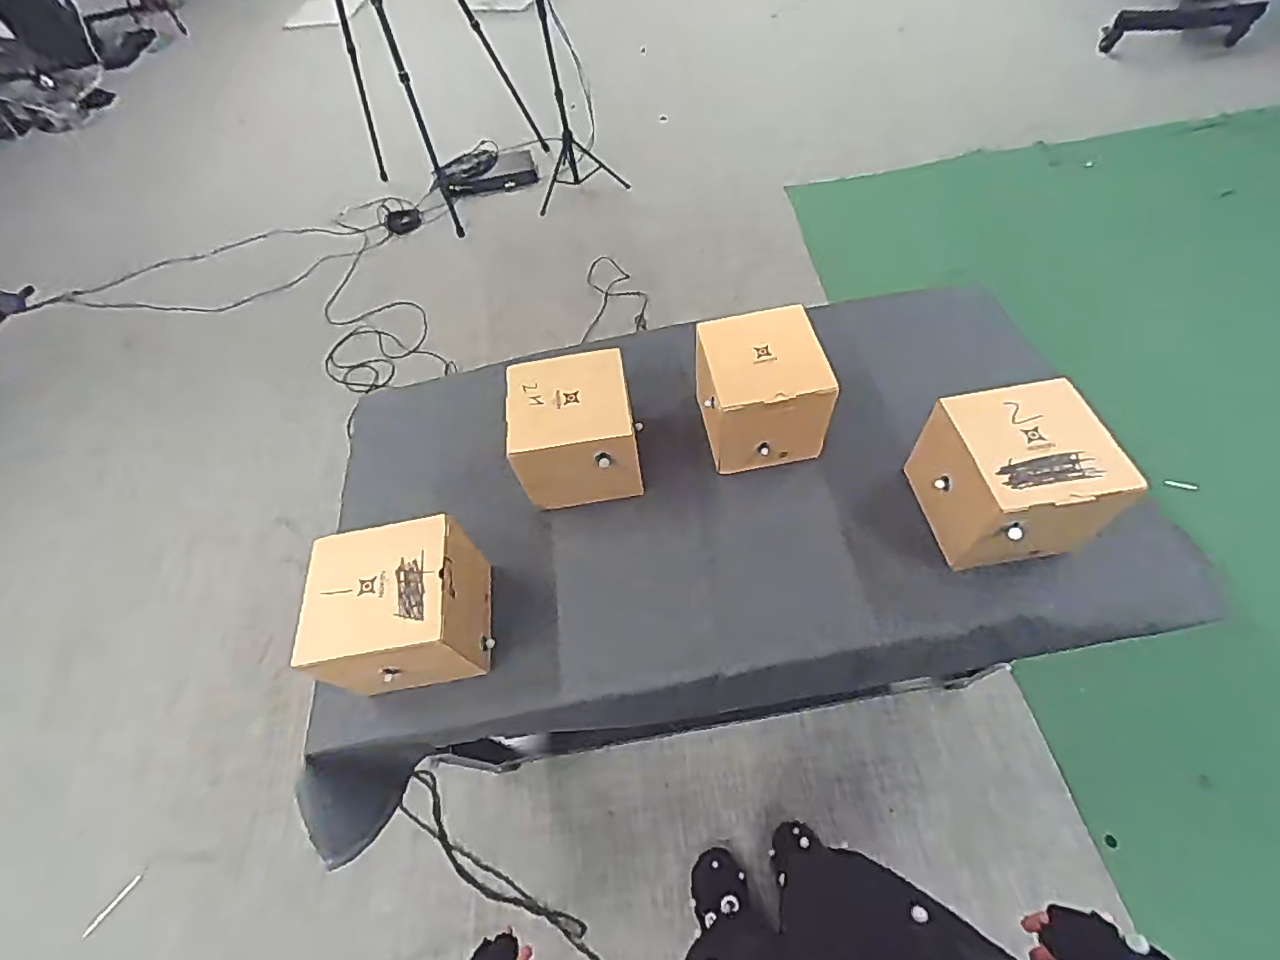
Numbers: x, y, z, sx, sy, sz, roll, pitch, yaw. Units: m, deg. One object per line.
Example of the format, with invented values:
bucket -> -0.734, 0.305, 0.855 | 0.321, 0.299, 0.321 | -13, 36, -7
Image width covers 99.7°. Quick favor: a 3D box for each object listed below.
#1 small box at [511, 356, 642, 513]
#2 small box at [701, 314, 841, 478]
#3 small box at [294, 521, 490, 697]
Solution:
small box -> -0.092, -0.065, 0.840 | 0.179, 0.176, 0.168 | -9, 58, 1
small box -> 0.190, -0.128, 0.850 | 0.168, 0.176, 0.179 | -10, 58, 0
small box -> -0.306, 0.175, 0.715 | 0.179, 0.176, 0.168 | -10, 57, 1
